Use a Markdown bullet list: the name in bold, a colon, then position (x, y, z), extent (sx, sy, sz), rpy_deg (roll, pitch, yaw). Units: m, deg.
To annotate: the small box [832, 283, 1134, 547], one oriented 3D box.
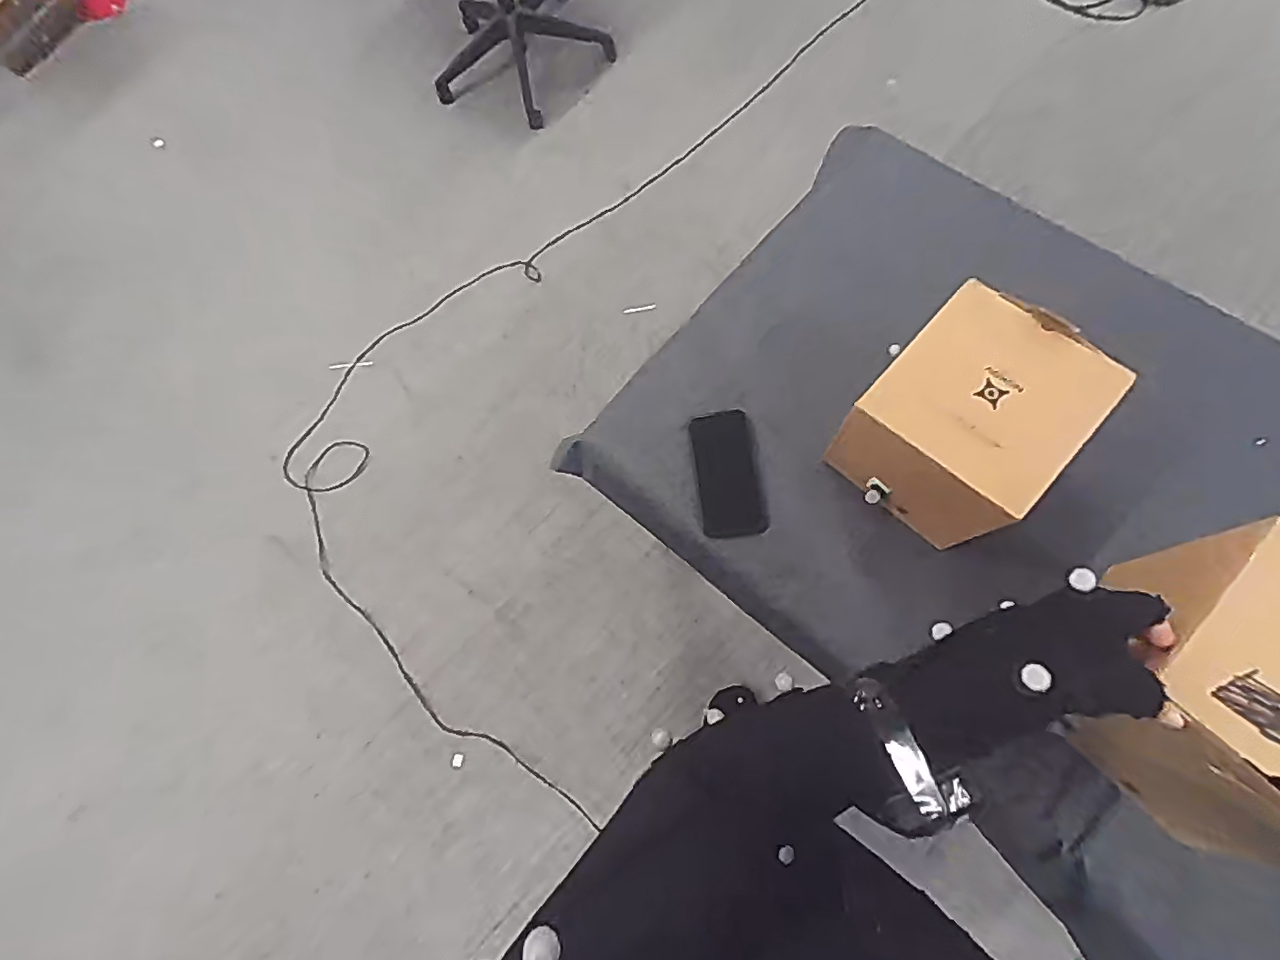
- **small box**: position (0.324, -0.054, 0.556), extent (0.168, 0.176, 0.179), rpy_deg (41, 84, 17)
